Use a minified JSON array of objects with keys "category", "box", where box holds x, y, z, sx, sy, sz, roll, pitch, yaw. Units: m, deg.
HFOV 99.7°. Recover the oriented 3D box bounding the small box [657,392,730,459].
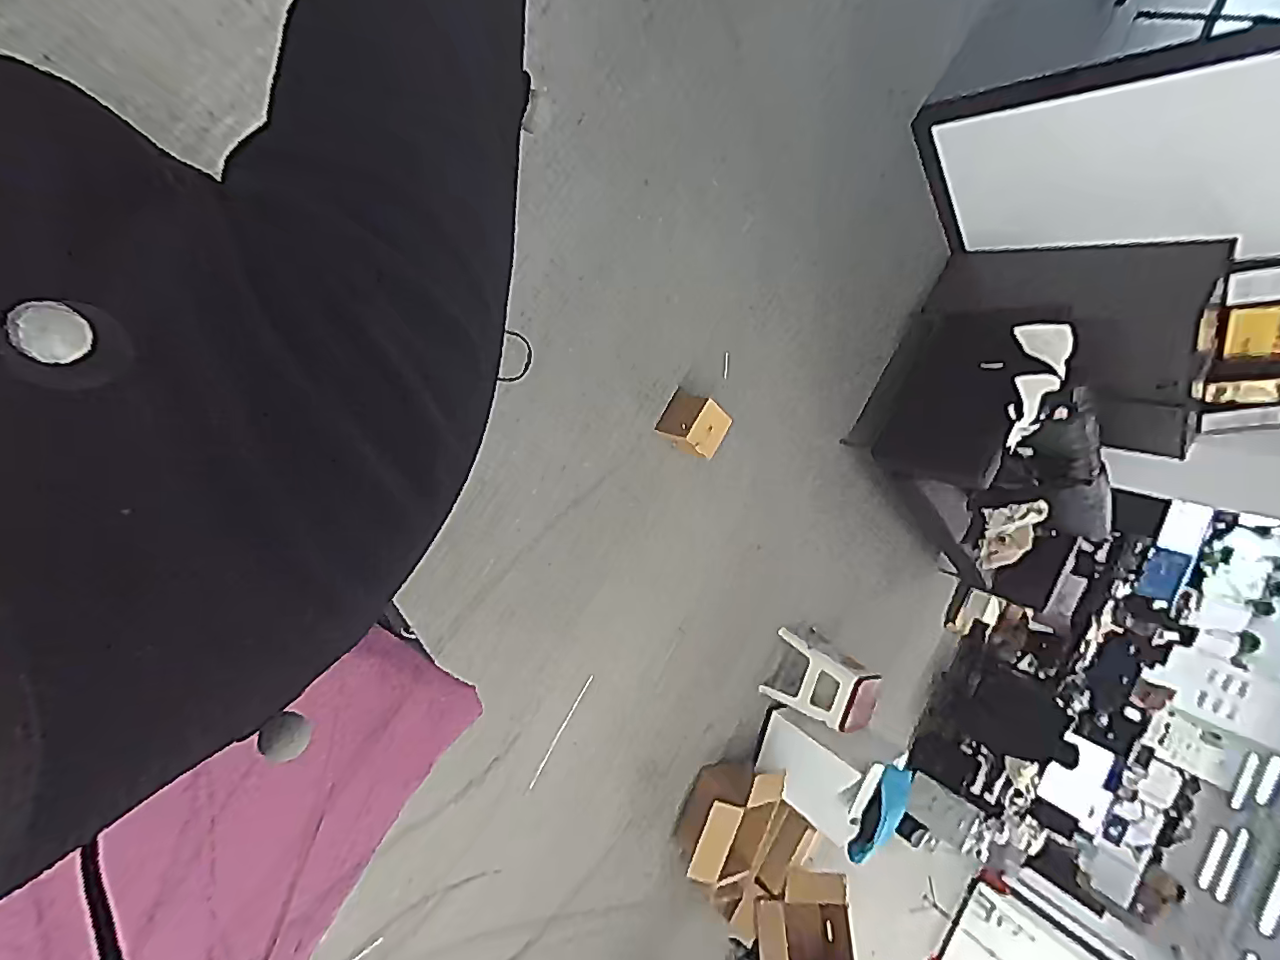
[{"category":"small box","box":[0.192,-0.204,1.992,0.168,0.176,0.179,36,81,-42]}]
